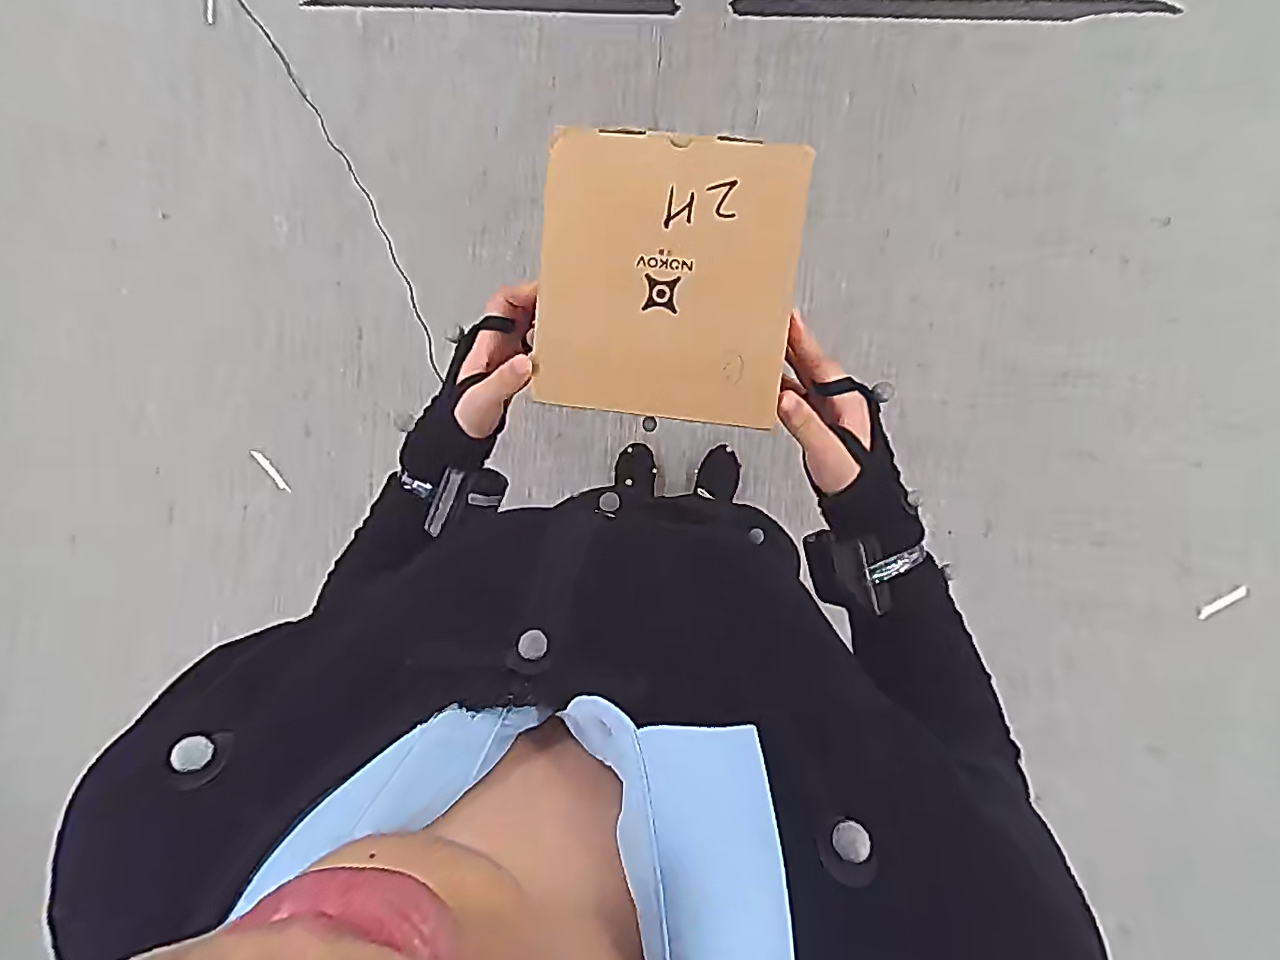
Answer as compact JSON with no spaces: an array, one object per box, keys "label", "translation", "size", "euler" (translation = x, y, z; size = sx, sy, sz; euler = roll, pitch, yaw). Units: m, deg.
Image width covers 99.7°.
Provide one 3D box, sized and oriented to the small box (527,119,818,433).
[{"label":"small box","translation":[0.023,-0.137,0.416],"size":[0.168,0.176,0.179],"euler":[8,98,4]}]
